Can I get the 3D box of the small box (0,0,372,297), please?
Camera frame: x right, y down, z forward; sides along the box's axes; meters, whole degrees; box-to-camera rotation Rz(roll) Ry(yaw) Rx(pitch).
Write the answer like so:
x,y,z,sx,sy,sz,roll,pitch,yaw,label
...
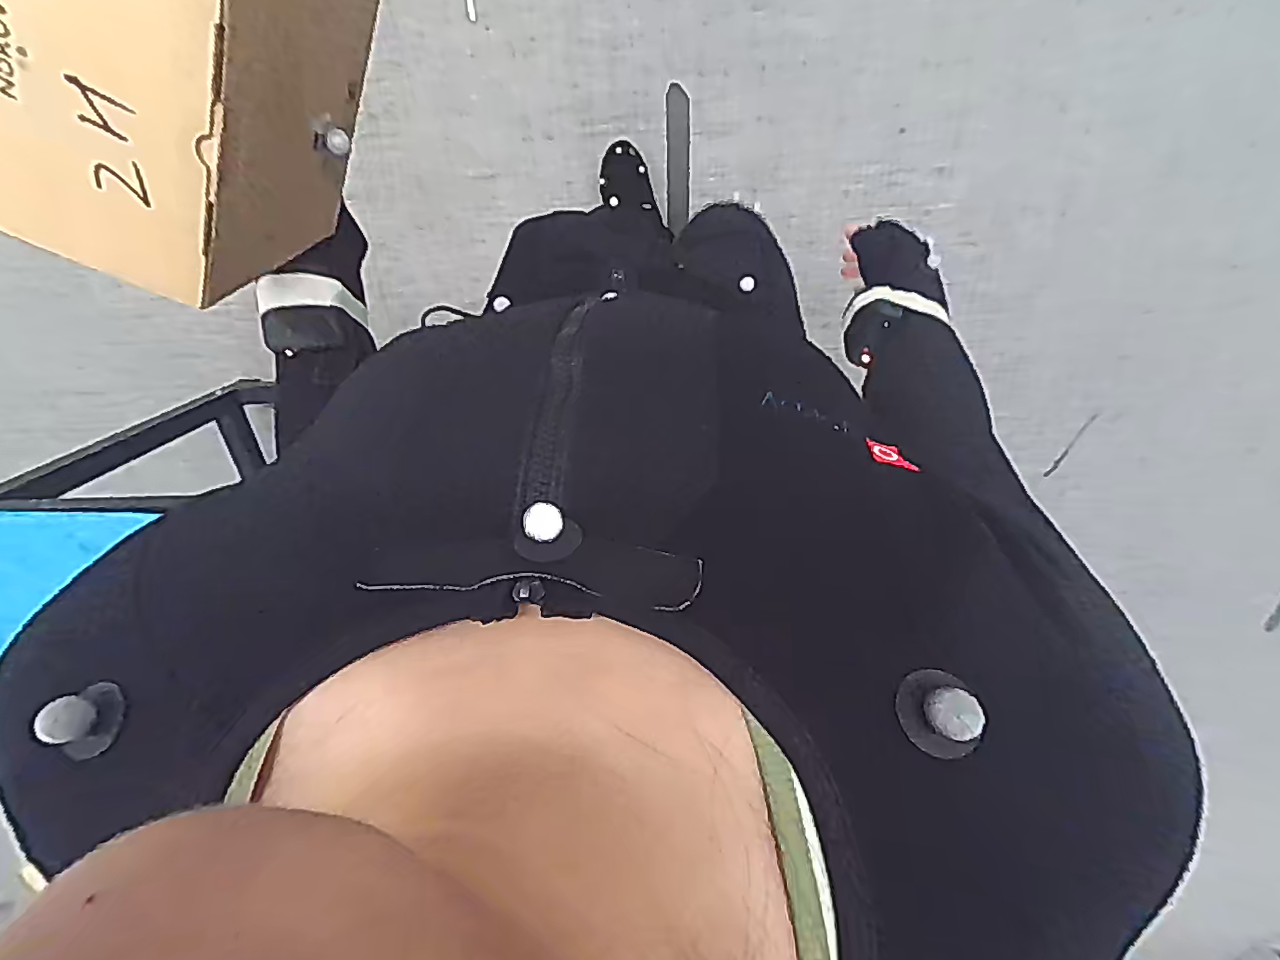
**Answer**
x,y,z,sx,sy,sz,roll,pitch,yaw,label
-0.273,-0.234,0.280,0.179,0.176,0.168,24,125,-22,small box
